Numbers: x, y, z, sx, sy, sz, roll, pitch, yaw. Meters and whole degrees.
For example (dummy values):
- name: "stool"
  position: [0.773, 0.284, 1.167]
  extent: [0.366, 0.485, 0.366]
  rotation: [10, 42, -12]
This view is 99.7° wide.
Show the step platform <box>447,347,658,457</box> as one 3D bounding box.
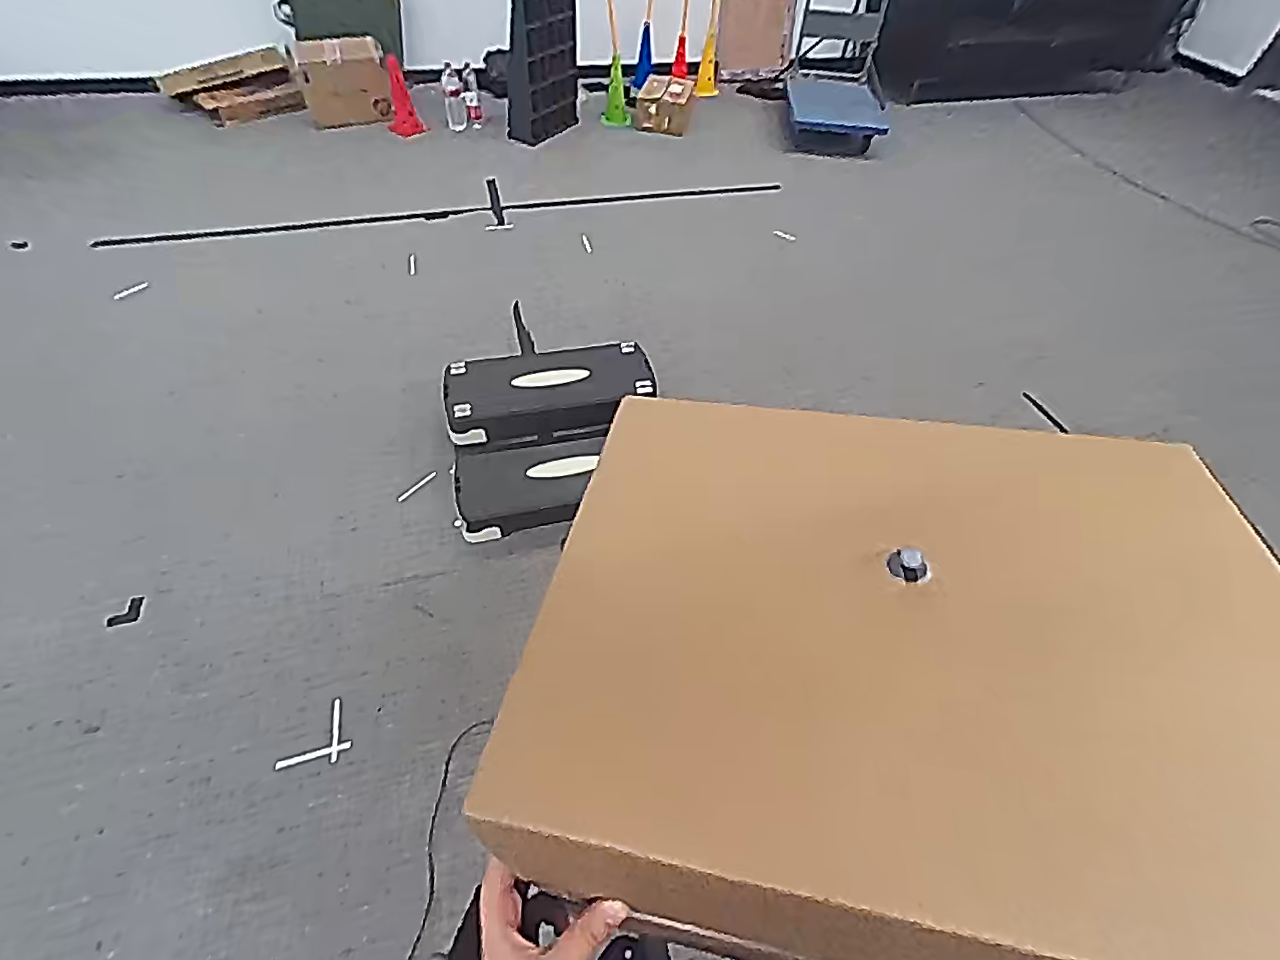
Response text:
- name: "step platform"
  position: [-0.283, -0.270, 1.799]
  extent: [0.684, 0.204, 0.286]
  rotation: [-6, 53, -9]

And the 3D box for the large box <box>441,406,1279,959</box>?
- name: "large box"
  position: [0.141, 0.160, 0.410]
  extent: [0.408, 0.320, 0.320]
  rotation: [4, 47, 11]
